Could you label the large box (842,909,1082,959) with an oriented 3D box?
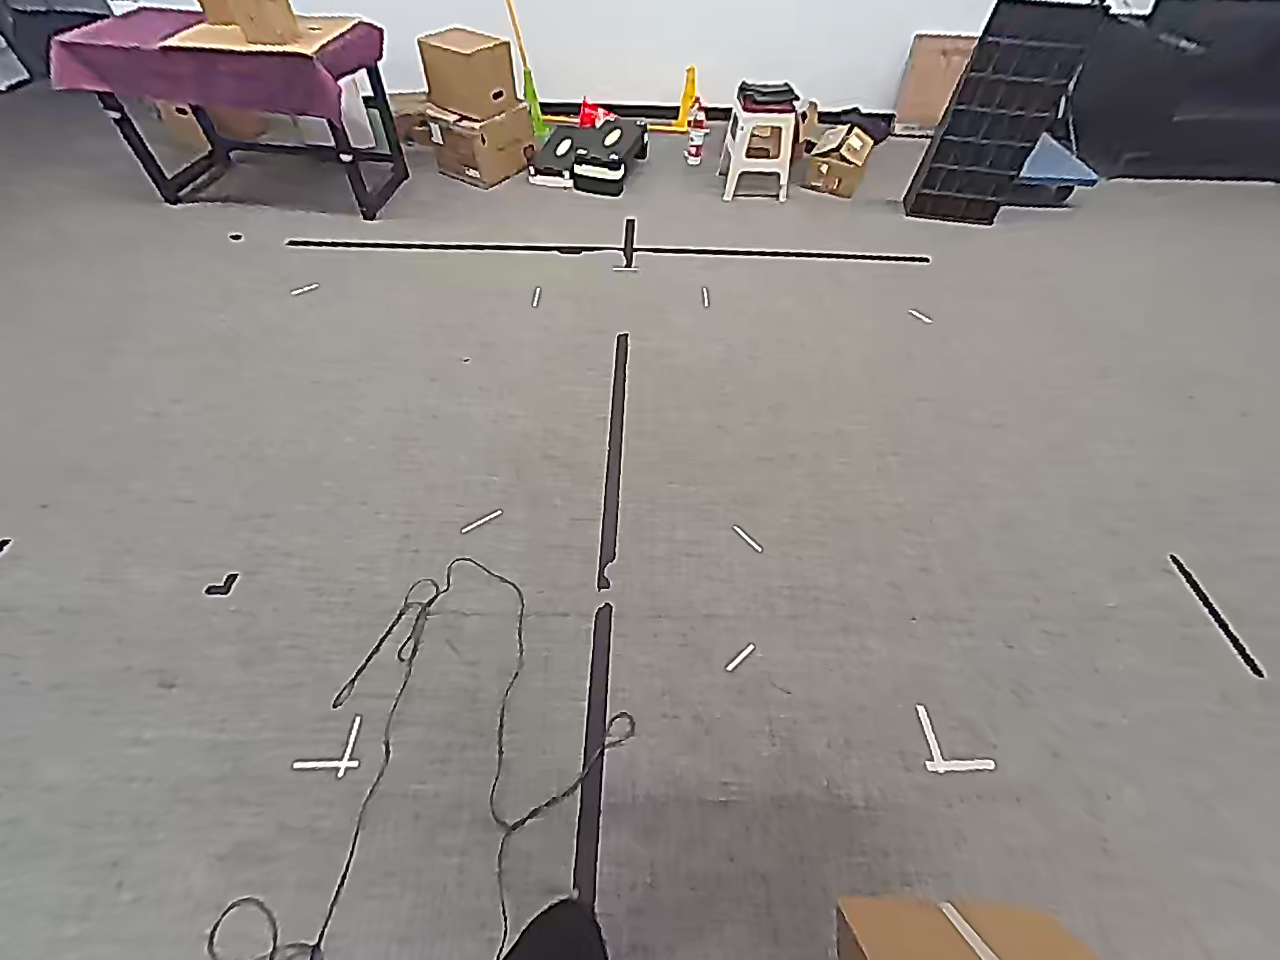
[{"bbox_3d":[0.435,0.768,0.585,0.320,0.408,0.320,2,80,4],"label":"large box"}]
